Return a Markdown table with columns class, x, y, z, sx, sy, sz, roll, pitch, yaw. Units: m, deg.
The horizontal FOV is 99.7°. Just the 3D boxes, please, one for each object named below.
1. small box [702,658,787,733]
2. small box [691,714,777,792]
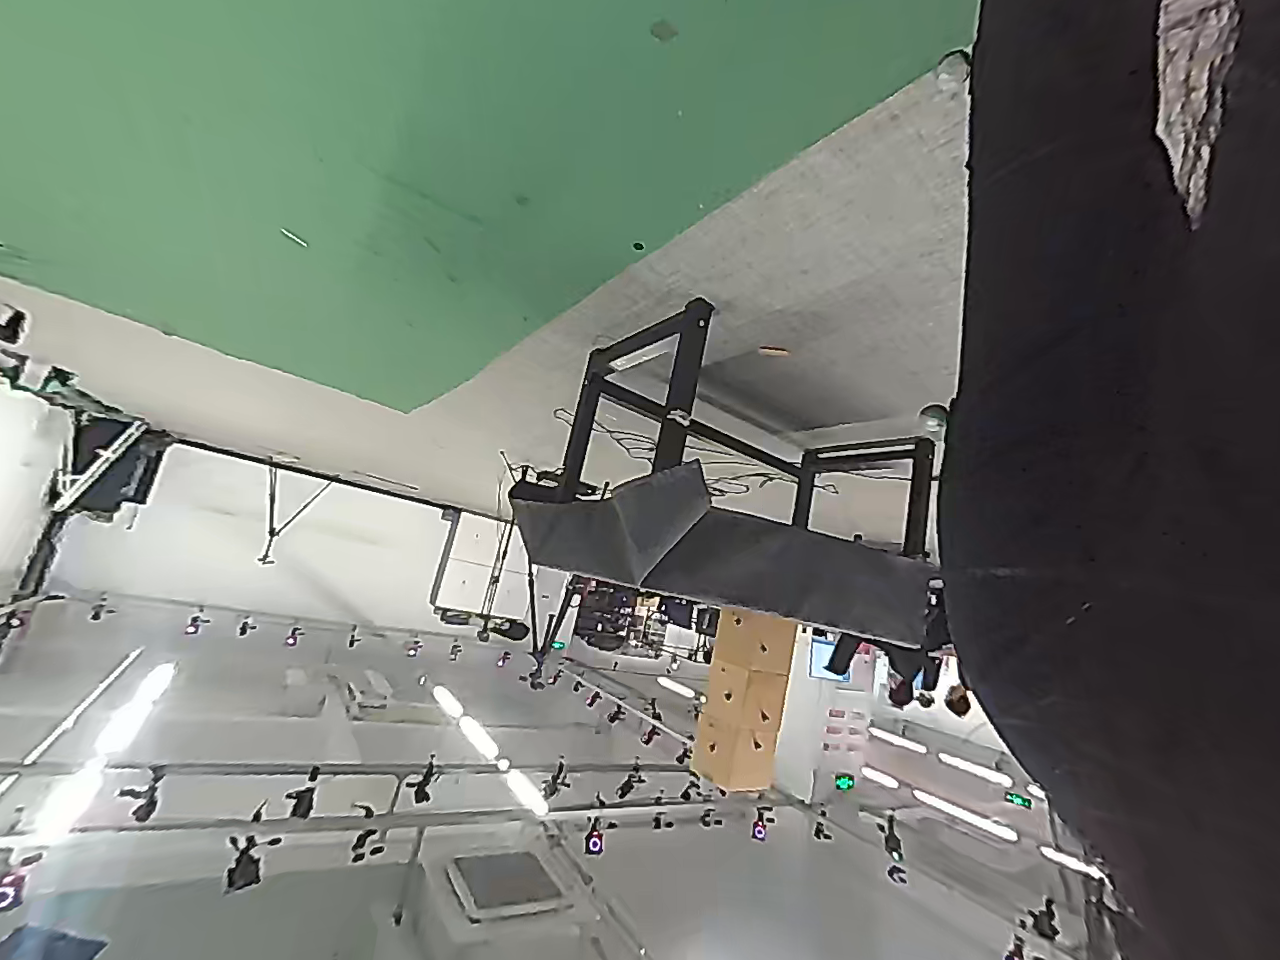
| class | x | y | z | sx | sy | sz | roll | pitch | yaw |
| --- | --- | --- | --- | --- | --- | --- | --- | --- | --- |
| small box | 0.315 | 0.640 | 1.622 | 0.179 | 0.176 | 0.168 | 19 | 167 | -31 |
| small box | 0.278 | 0.798 | 1.596 | 0.179 | 0.176 | 0.168 | 21 | 166 | -33 |
